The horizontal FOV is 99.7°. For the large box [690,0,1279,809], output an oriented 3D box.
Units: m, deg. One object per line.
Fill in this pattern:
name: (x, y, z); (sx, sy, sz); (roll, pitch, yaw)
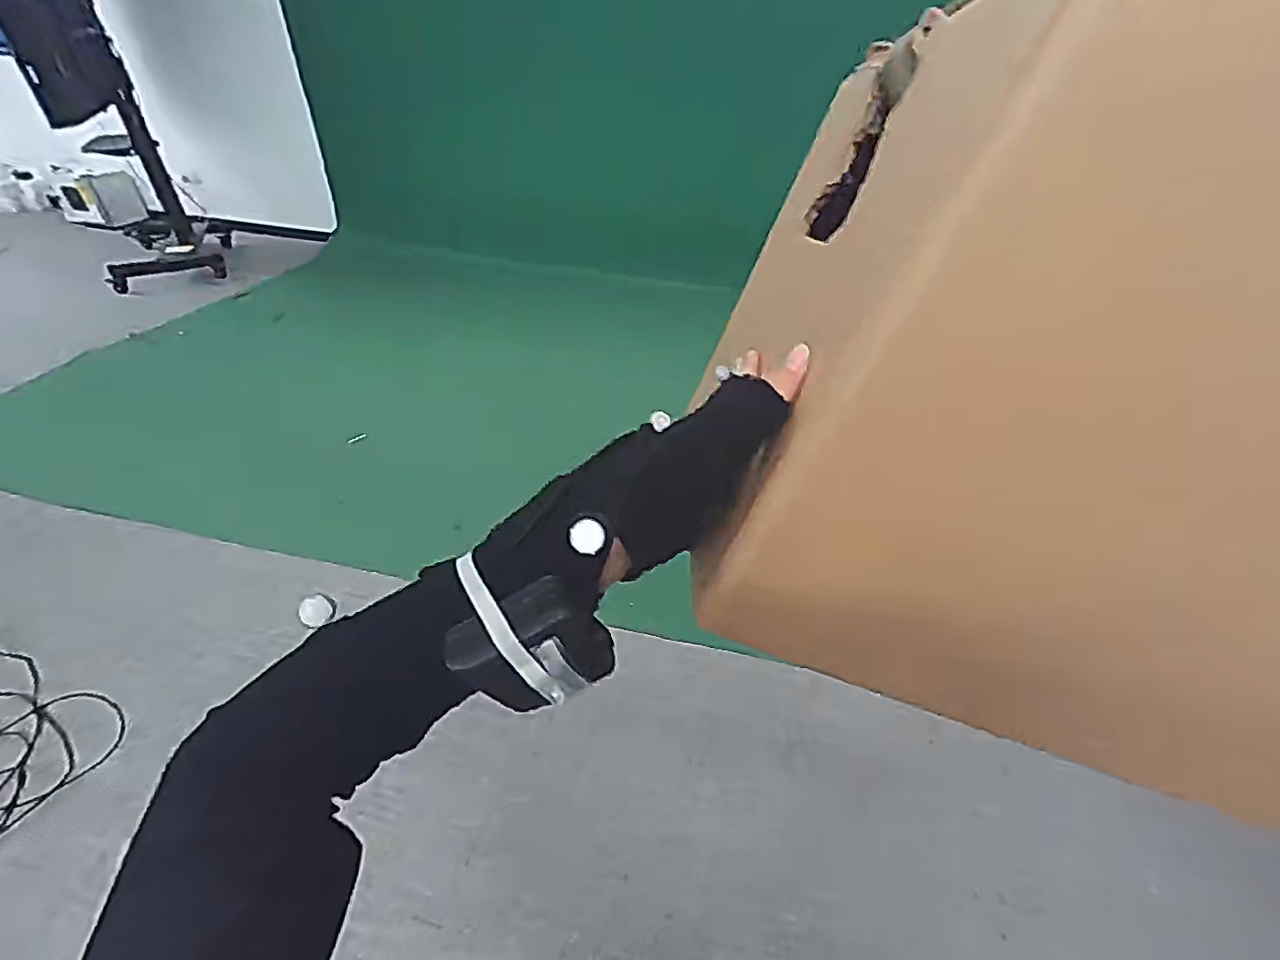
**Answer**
large box: (0.281, -0.039, 0.394); (0.408, 0.320, 0.320); (22, 28, -7)
